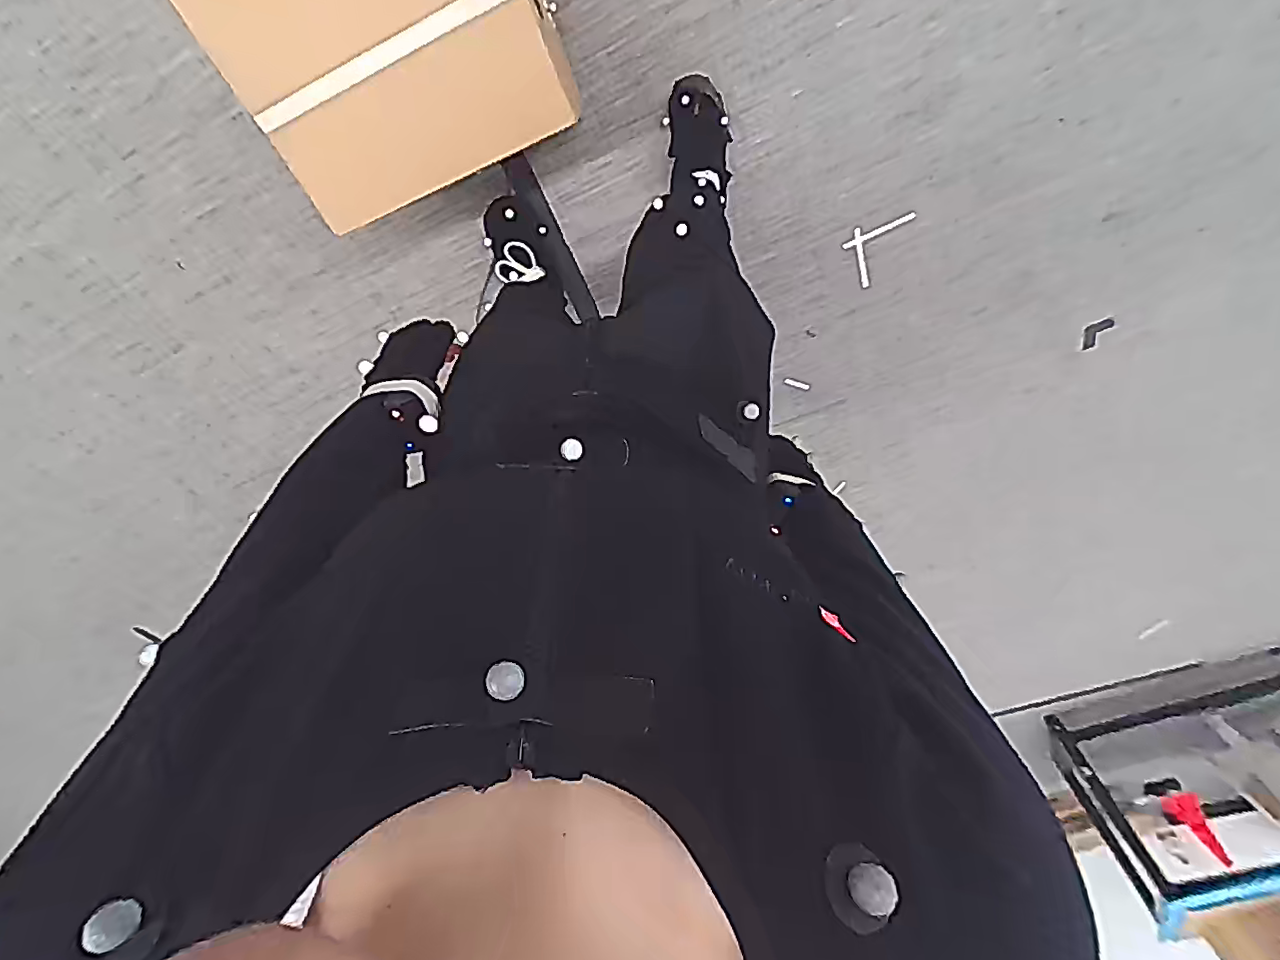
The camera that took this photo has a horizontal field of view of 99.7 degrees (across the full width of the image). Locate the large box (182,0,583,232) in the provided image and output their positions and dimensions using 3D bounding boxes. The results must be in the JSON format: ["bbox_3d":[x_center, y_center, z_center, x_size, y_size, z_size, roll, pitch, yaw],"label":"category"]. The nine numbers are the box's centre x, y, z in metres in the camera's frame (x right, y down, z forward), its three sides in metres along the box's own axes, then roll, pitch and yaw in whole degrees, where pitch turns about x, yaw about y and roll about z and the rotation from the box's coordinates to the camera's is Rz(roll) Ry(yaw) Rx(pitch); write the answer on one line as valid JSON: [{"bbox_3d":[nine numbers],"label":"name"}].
[{"bbox_3d":[-0.334,-0.642,0.820,0.408,0.320,0.320,-18,128,11],"label":"large box"}]
